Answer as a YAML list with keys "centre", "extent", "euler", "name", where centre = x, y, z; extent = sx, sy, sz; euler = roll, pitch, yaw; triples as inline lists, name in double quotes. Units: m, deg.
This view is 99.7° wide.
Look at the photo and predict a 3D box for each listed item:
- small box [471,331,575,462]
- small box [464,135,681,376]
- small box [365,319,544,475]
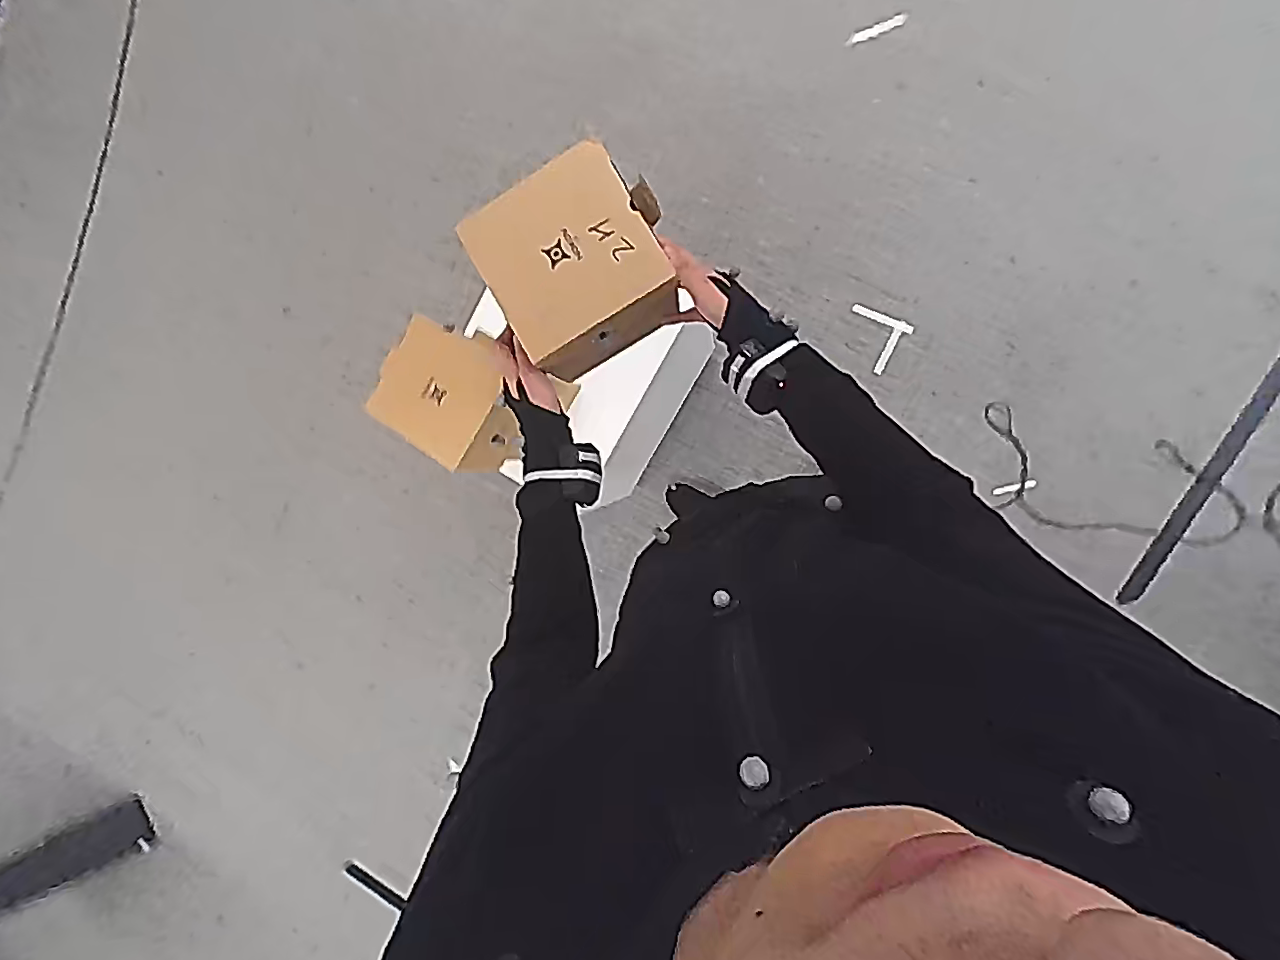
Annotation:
- centre: [-0.245, -0.147, 1.017]
  extent: [0.168, 0.176, 0.179]
  euler: [32, 96, 7]
  name: "small box"
- centre: [-0.063, -0.238, 0.628]
  extent: [0.179, 0.176, 0.168]
  euler: [-29, 90, 6]
  name: "small box"
- centre: [-0.282, -0.125, 0.859]
  extent: [0.179, 0.176, 0.168]
  euler: [33, 98, 8]
  name: "small box"
